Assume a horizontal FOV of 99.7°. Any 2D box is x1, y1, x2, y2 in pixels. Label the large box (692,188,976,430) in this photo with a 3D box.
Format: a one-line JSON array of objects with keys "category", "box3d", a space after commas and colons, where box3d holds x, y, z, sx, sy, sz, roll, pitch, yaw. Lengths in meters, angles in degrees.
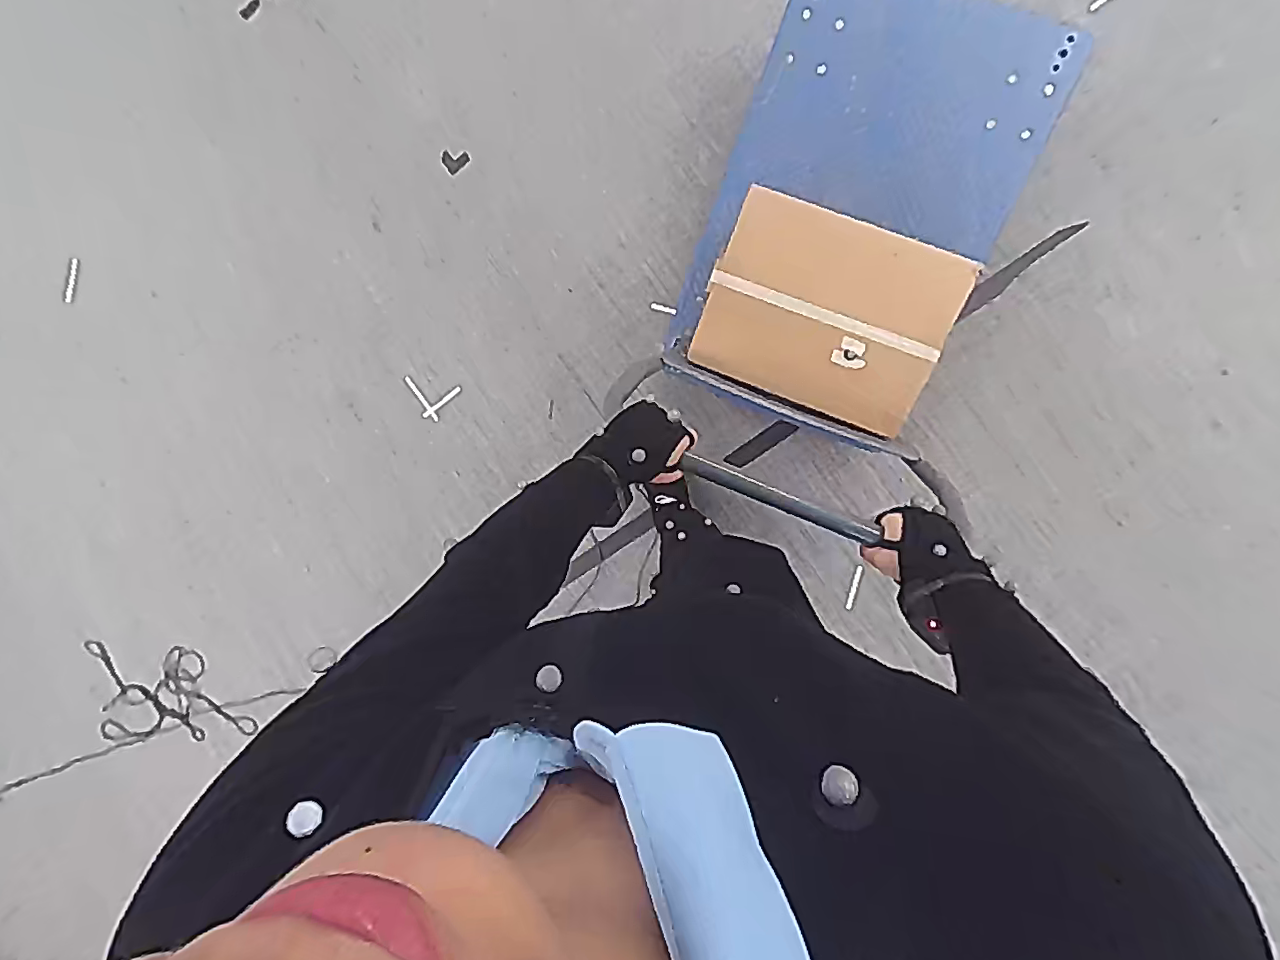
[{"category": "large box", "box3d": [0.352, -0.333, 1.097, 0.408, 0.320, 0.320, 22, 108, 4]}]
